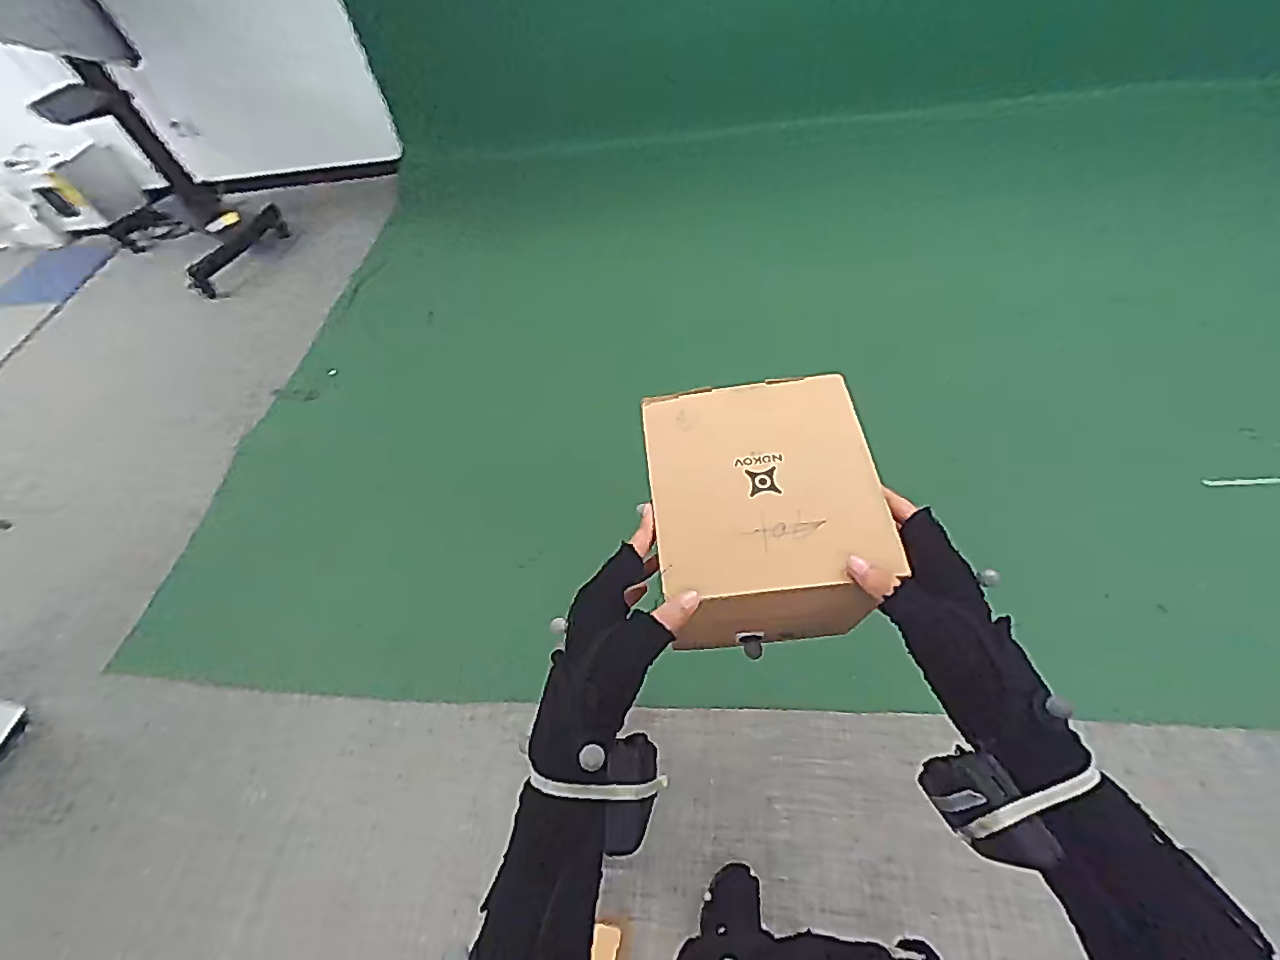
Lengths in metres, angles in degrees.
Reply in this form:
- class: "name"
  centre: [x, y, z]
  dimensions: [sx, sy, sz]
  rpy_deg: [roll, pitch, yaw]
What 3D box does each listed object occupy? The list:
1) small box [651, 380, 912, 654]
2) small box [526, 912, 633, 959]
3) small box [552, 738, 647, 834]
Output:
- class: "small box"
  centre: [0.099, 0.040, 0.470]
  dimensions: [0.168, 0.176, 0.179]
  rpy_deg: [-6, 61, 2]
- class: "small box"
  centre: [-0.120, 0.956, 1.046]
  dimensions: [0.179, 0.176, 0.168]
  rpy_deg: [4, 55, 11]
- class: "small box"
  centre: [-0.082, 0.696, 1.227]
  dimensions: [0.179, 0.176, 0.168]
  rpy_deg: [-1, 54, 9]
